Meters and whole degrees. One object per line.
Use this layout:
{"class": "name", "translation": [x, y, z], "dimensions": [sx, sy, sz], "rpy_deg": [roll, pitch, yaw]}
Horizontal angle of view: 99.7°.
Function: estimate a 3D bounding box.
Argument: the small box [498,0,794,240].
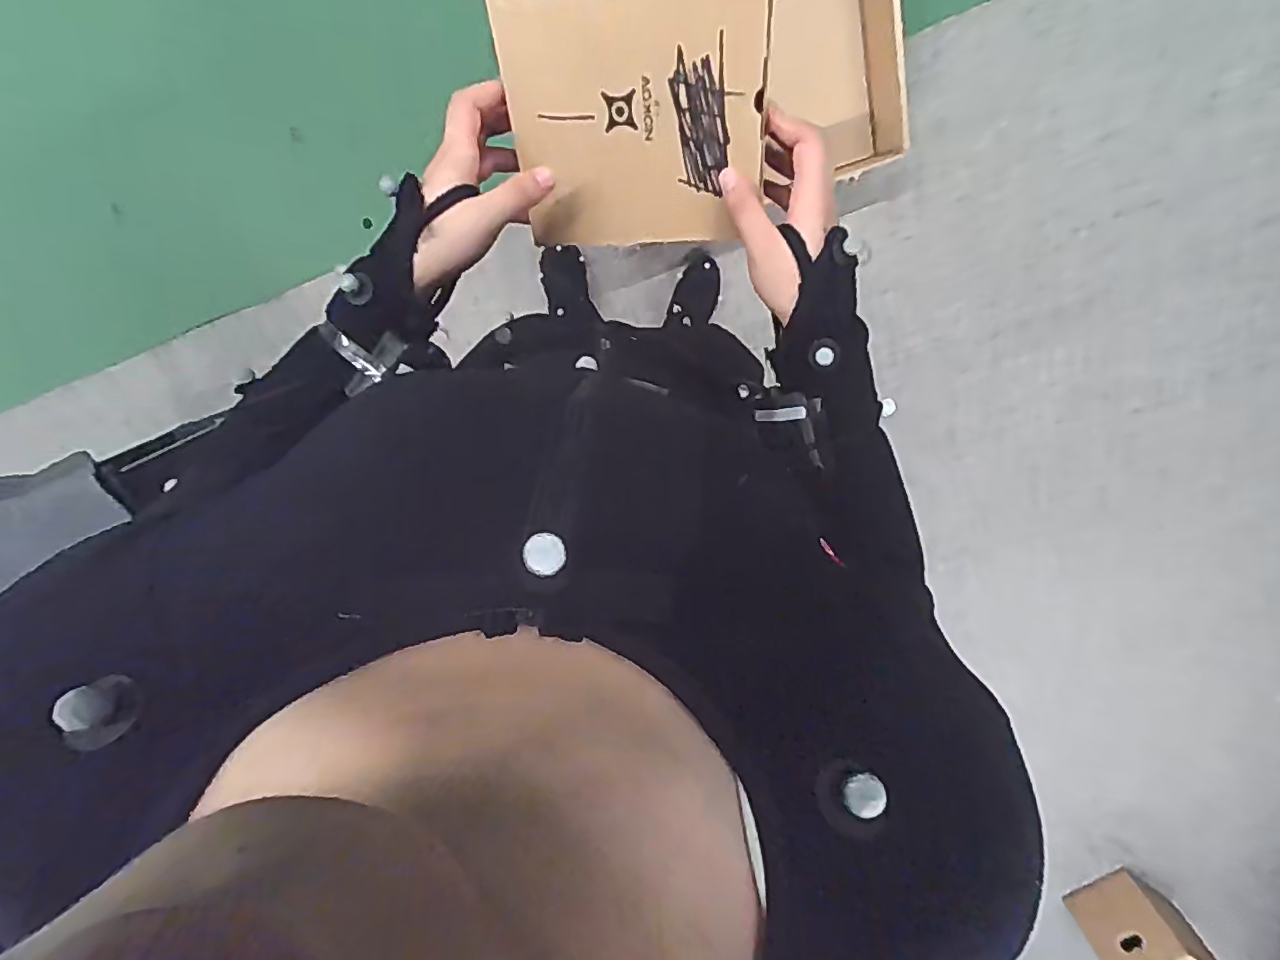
{"class": "small box", "translation": [0.017, -0.294, 0.407], "dimensions": [0.179, 0.176, 0.168], "rpy_deg": [3, 130, 10]}
